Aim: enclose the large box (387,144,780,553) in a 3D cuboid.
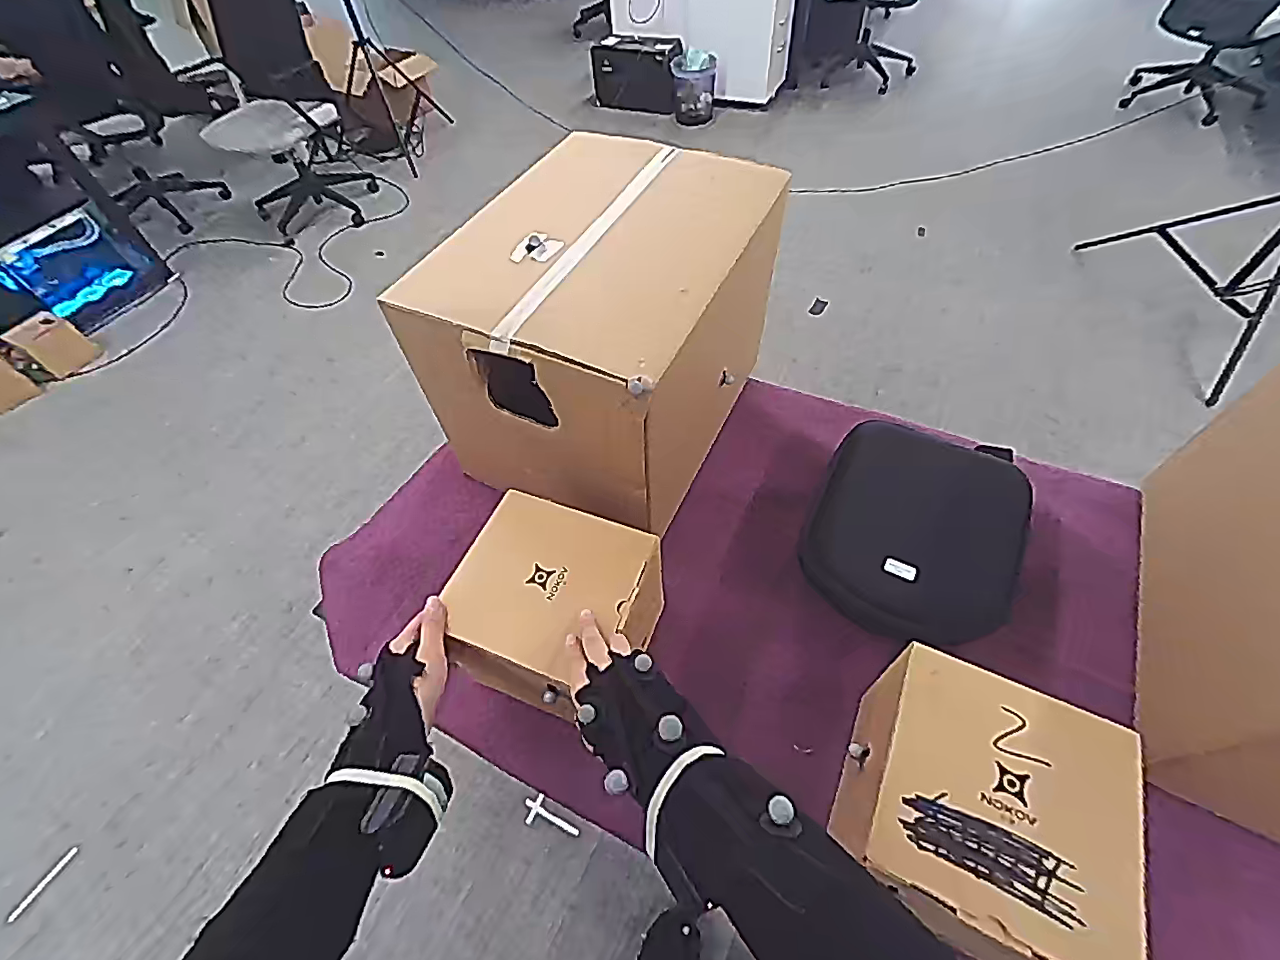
[{"bbox_3d":[-0.038,-0.181,0.735,0.320,0.320,0.408,20,59,16],"label":"large box"}]
